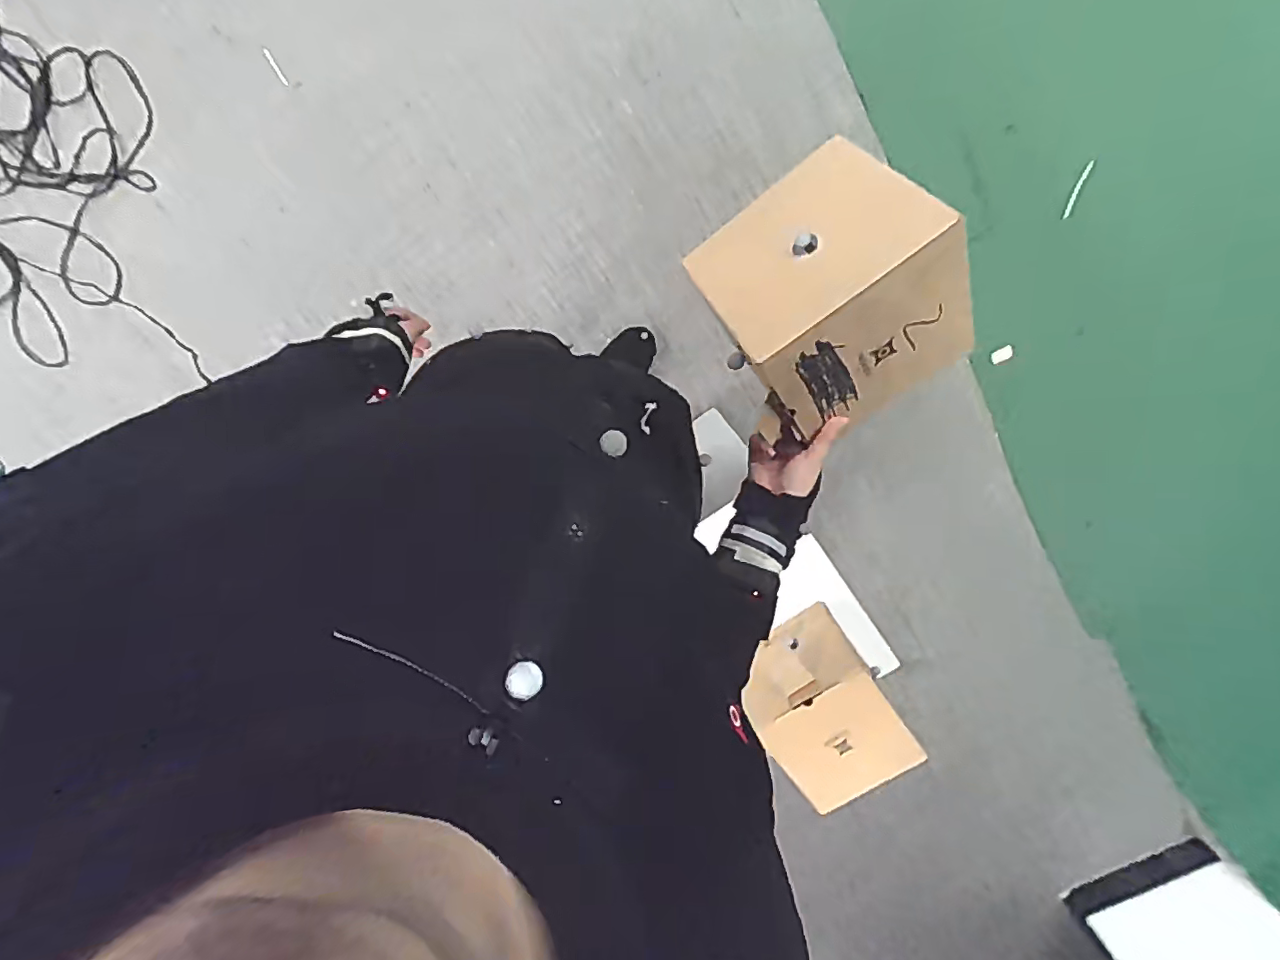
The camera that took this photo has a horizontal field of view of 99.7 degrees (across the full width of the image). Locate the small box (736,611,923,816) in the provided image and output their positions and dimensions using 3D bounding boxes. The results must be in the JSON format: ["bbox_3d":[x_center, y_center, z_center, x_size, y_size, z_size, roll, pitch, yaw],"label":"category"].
[{"bbox_3d":[0.261,0.326,0.780,0.168,0.176,0.179,-35,103,10],"label":"small box"}]
